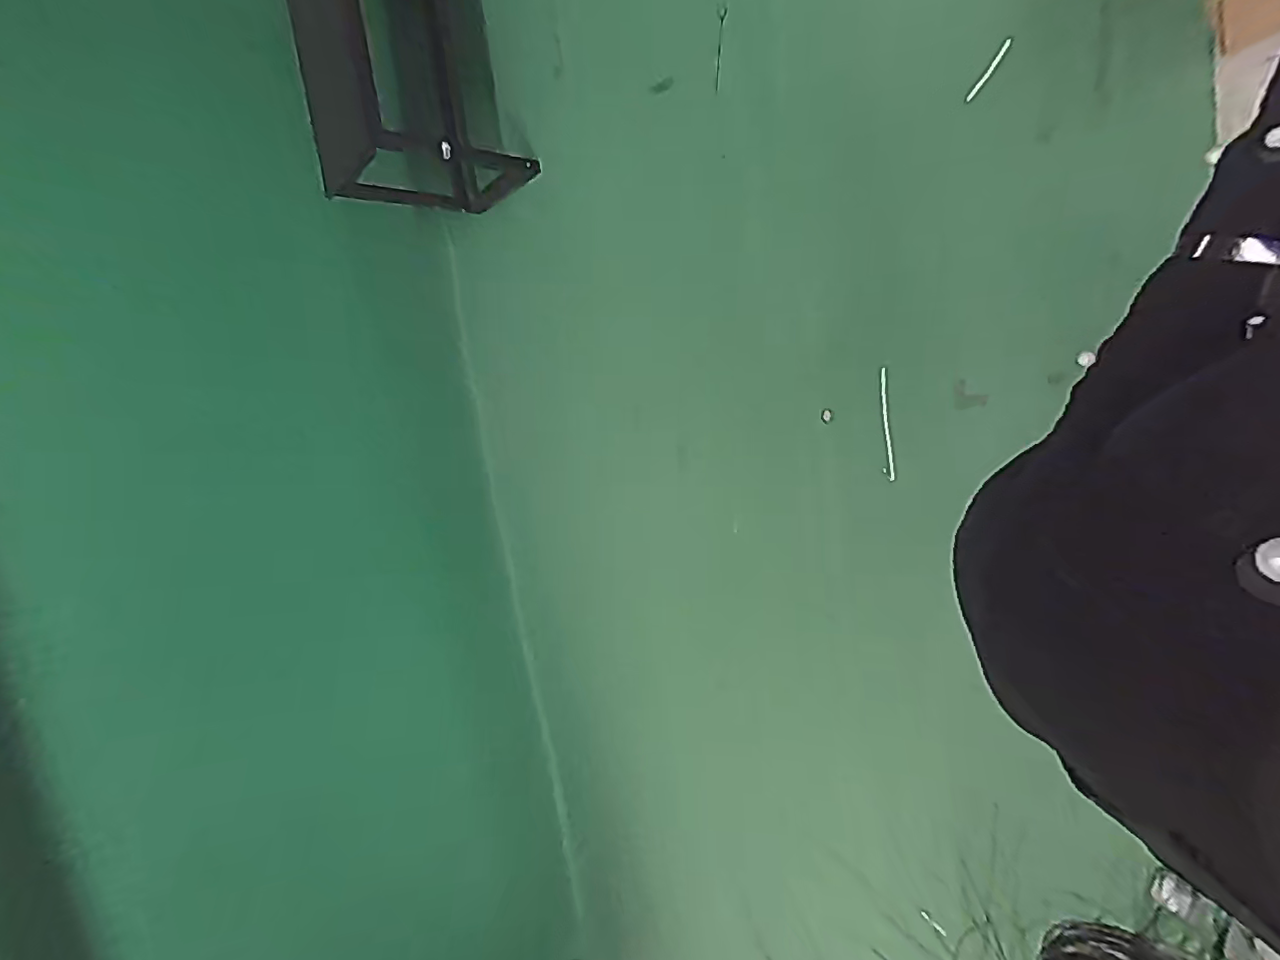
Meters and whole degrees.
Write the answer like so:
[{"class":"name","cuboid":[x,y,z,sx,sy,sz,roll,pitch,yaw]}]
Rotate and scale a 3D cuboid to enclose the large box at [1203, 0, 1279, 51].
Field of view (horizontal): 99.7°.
[{"class":"large box","cuboid":[0.998,-0.911,0.717,0.408,0.320,0.320,-24,83,50]}]
